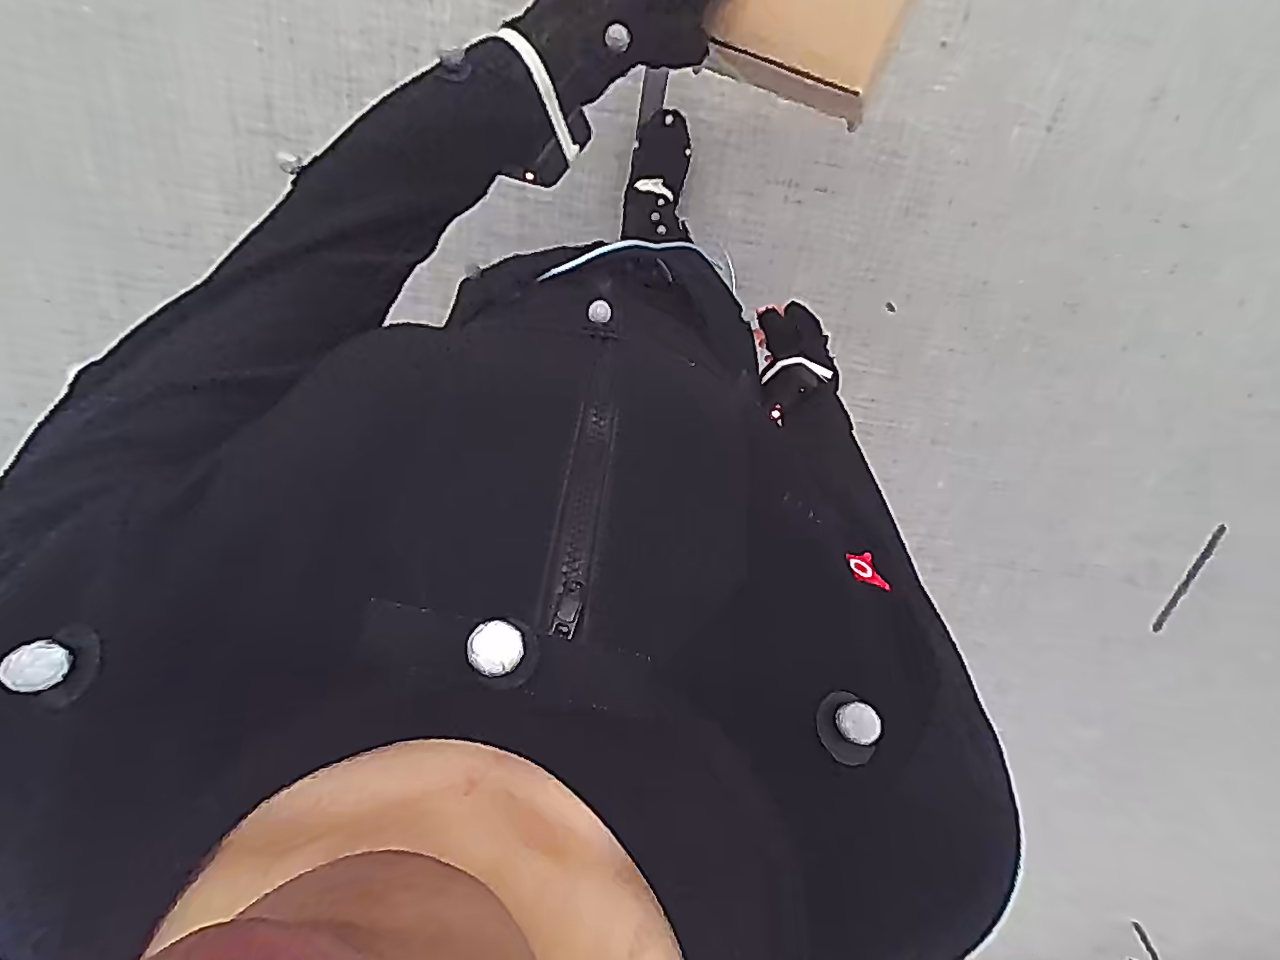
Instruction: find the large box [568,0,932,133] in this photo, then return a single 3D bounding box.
[{"bbox_3d":[0.143,-0.555,0.494,0.320,0.408,0.320,29,126,7],"label":"large box"}]
